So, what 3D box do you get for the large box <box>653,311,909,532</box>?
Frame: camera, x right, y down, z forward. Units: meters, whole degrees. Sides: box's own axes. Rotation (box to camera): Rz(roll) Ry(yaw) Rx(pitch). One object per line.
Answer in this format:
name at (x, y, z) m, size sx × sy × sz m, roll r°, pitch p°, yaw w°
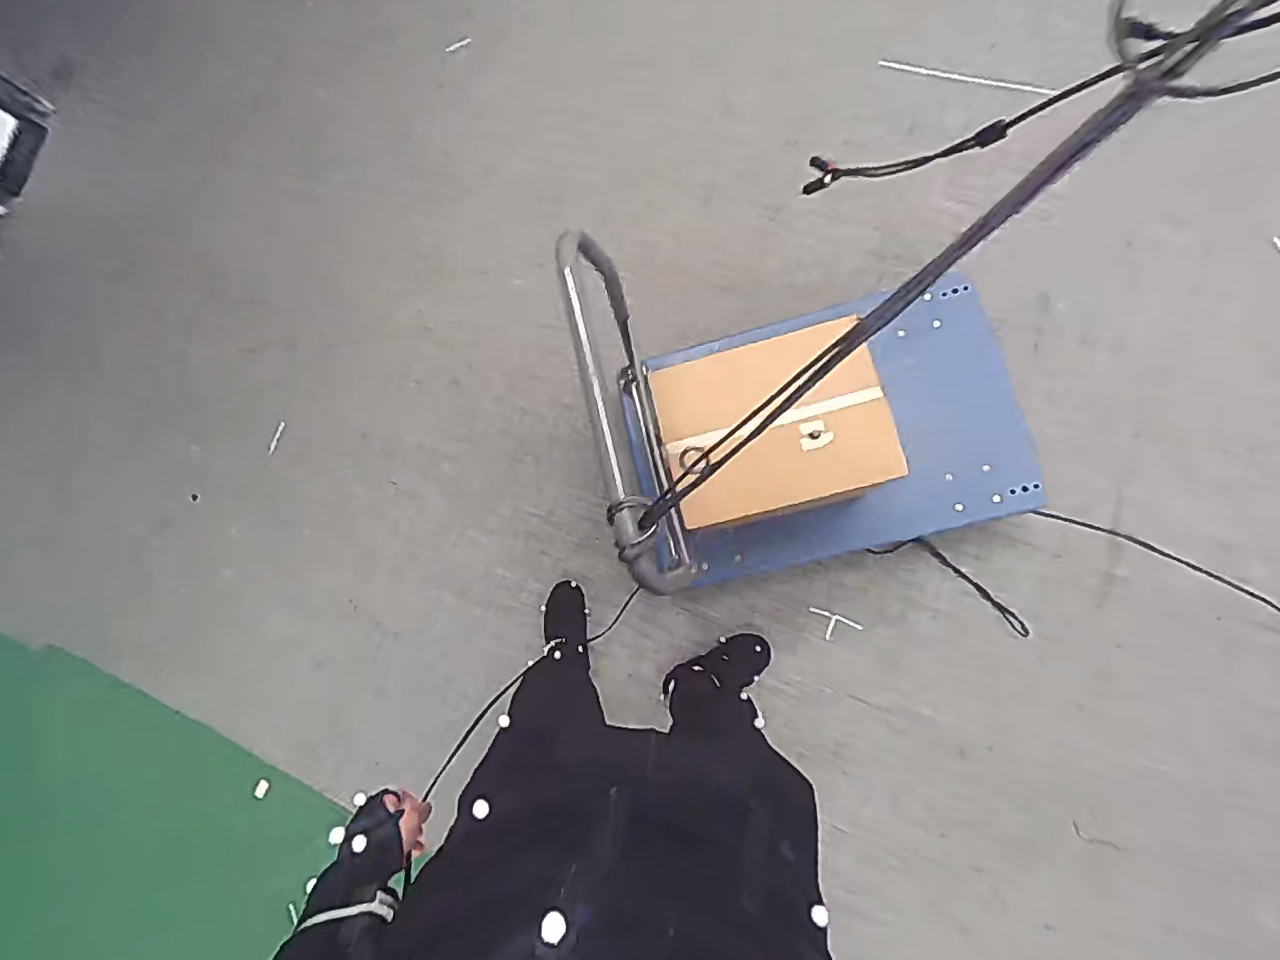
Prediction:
large box at (0.269, -0.094, 1.135) m, size 0.408 × 0.320 × 0.320 m, roll -14°, pitch 80°, yaw 6°
